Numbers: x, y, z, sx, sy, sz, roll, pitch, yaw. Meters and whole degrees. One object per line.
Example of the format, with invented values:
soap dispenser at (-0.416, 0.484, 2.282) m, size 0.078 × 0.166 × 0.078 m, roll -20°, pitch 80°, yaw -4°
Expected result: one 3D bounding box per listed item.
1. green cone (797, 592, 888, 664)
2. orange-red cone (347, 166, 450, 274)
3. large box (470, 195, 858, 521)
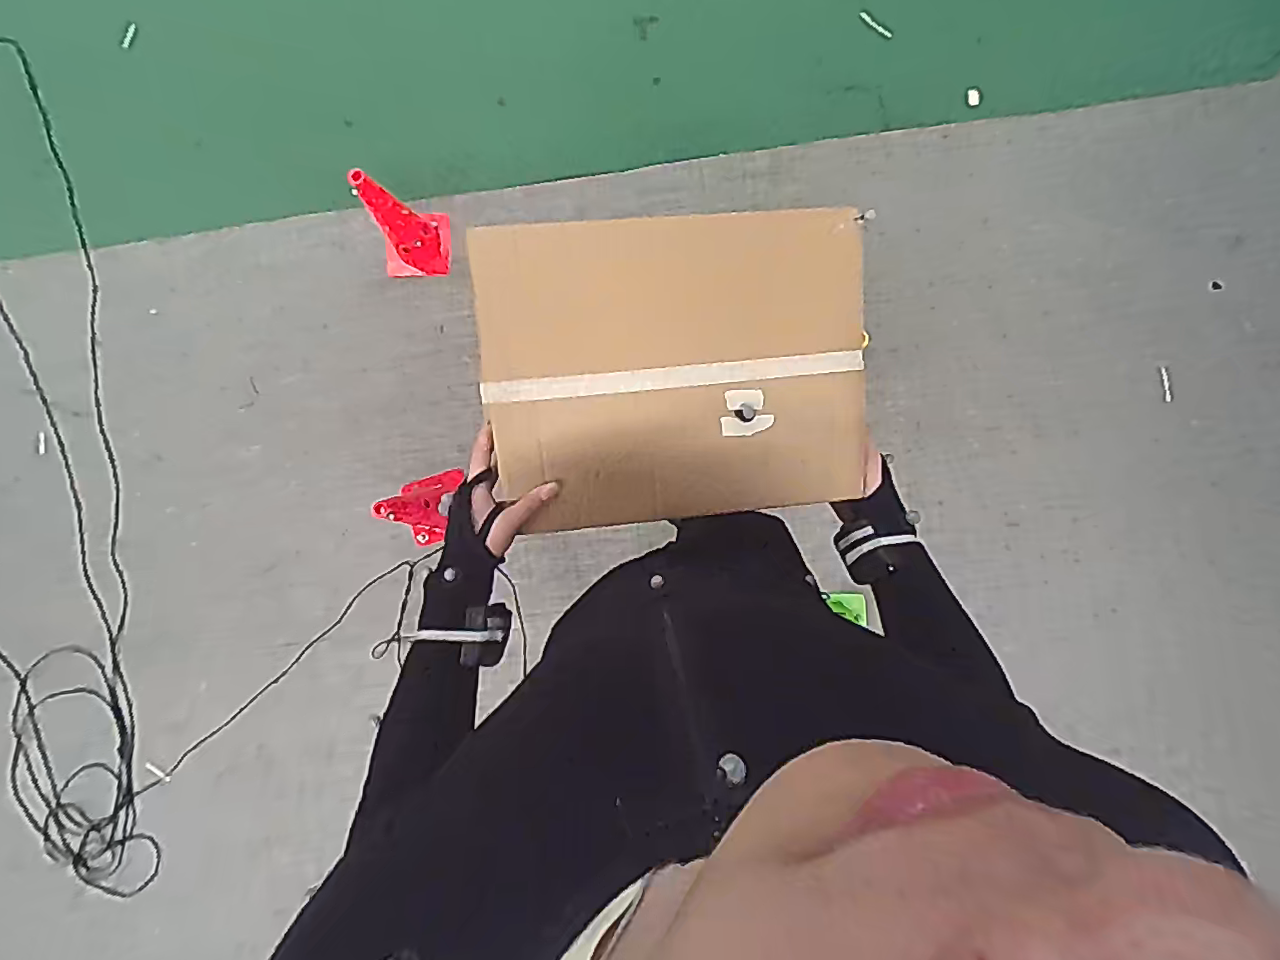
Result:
green cone at (0.559, 0.421, 1.416) m, size 0.200 × 0.368 × 0.202 m, roll -1°, pitch 86°, yaw 2°
orange-red cone at (-0.703, -0.748, 1.513) m, size 0.199 × 0.360 × 0.198 m, roll 0°, pitch 86°, yaw 3°
large box at (0.023, -0.153, 0.722) m, size 0.408 × 0.320 × 0.320 m, roll -6°, pitch 102°, yaw -6°
